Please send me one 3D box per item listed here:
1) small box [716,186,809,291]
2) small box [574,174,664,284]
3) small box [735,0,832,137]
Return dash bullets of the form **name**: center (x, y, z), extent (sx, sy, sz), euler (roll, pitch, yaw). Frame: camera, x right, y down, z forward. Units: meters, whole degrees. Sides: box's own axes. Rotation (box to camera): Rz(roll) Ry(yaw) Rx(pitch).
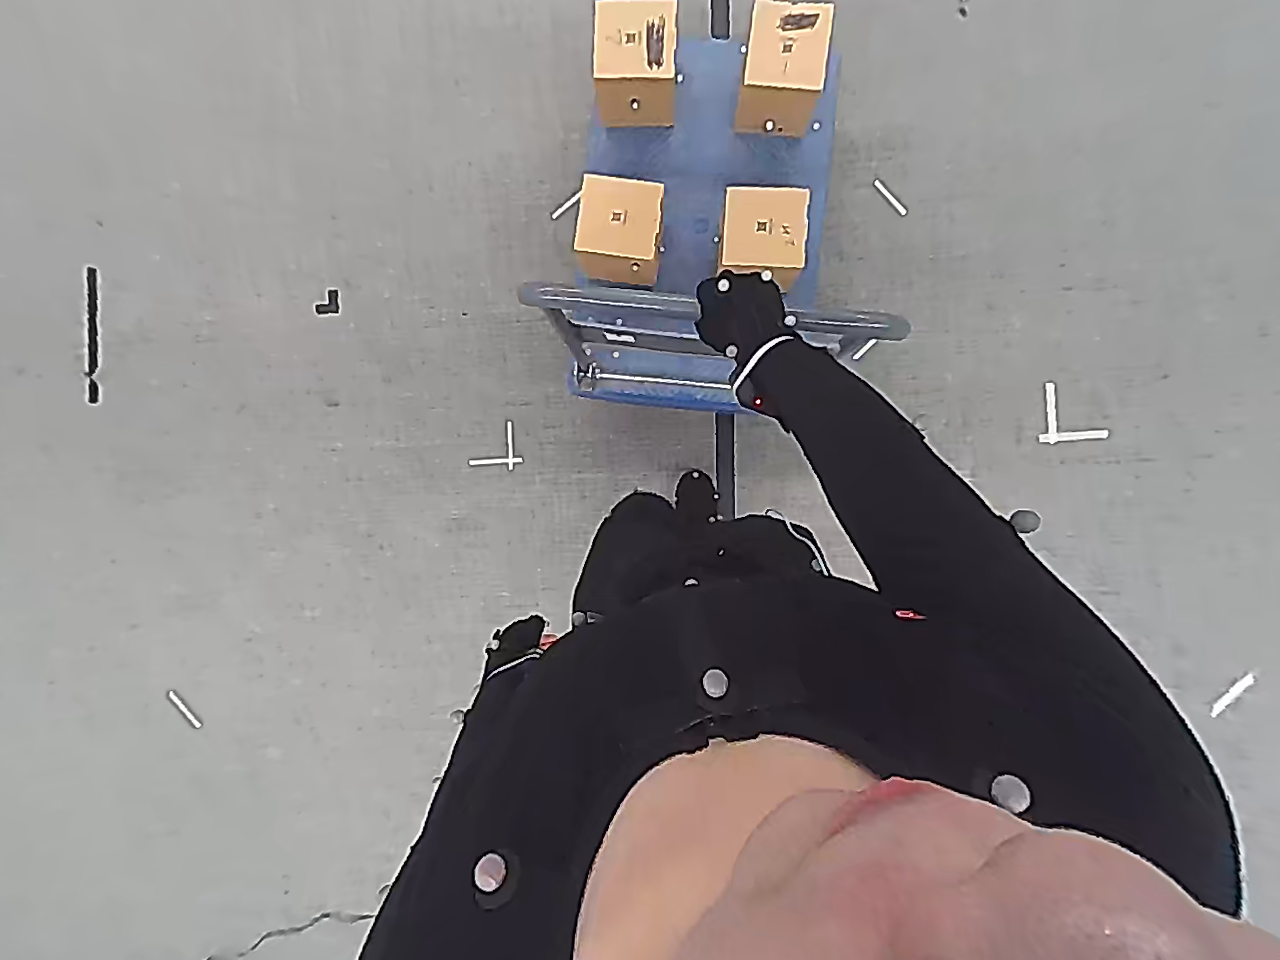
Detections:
- **small box**: center (0.265, -0.533, 1.213), extent (0.179, 0.176, 0.168), euler (4, 92, 3)
- **small box**: center (-0.043, -0.560, 1.227), extent (0.179, 0.176, 0.168), euler (8, 91, 1)
- **small box**: center (0.309, -0.905, 1.198), extent (0.168, 0.176, 0.179), euler (7, 93, 3)
